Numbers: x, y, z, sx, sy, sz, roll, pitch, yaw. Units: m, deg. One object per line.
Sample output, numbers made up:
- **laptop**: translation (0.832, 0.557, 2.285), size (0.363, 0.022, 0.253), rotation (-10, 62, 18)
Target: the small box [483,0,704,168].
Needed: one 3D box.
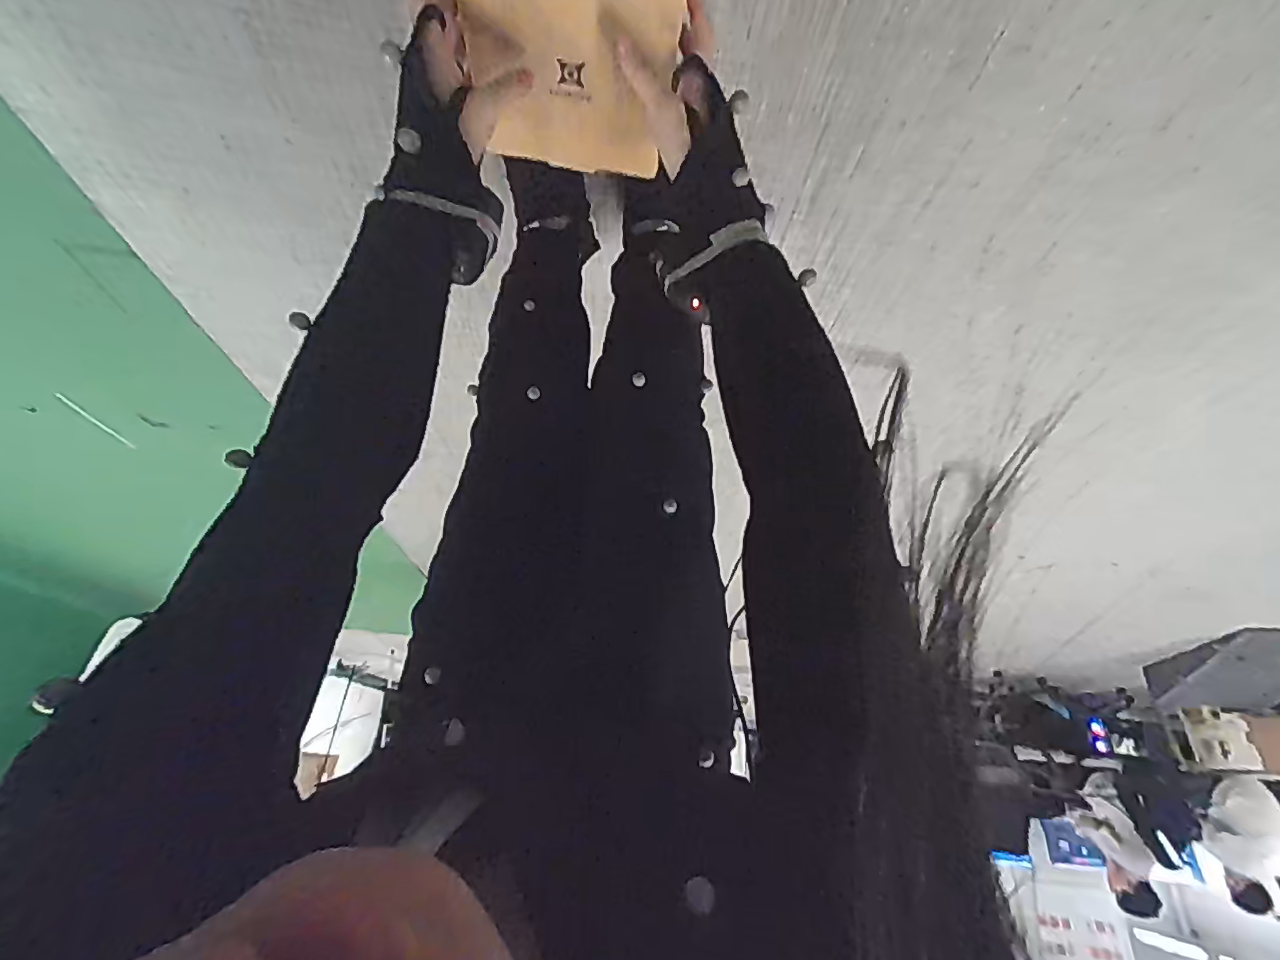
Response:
- **small box**: translation (-0.038, -0.419, 0.471), size (0.168, 0.176, 0.179), rotation (6, 166, -6)
